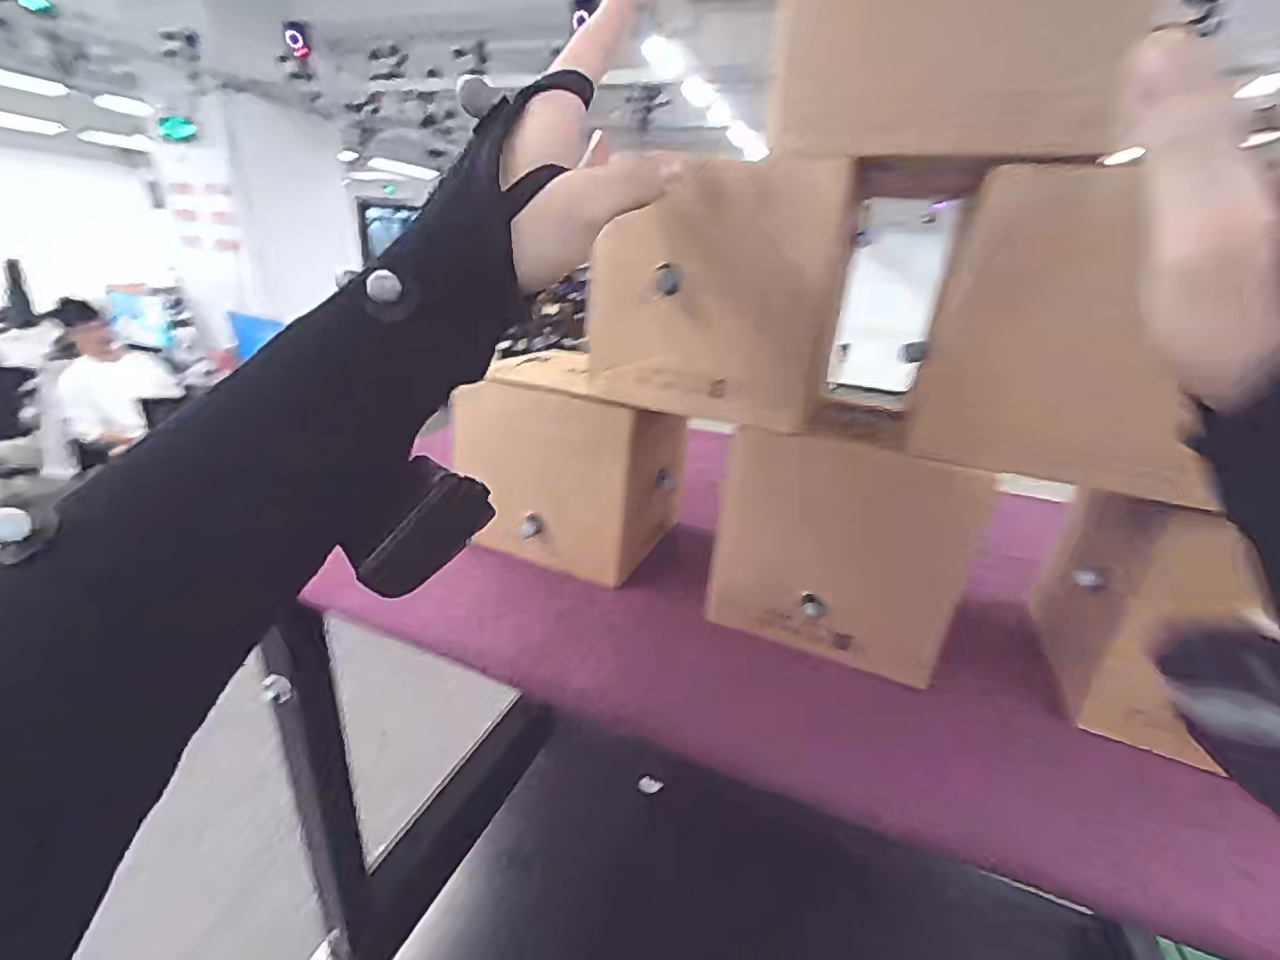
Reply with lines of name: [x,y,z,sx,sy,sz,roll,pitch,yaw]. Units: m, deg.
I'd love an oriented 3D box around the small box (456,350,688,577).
small box: [-0.059,-0.024,0.541,0.179,0.176,0.168,14,24,20]

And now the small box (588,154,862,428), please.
small box: [0.071,-0.147,0.434,0.168,0.176,0.179,13,23,22]

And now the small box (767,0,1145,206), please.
small box: [0.186,-0.276,0.336,0.179,0.176,0.168,13,23,20]

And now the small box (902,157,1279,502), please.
small box: [0.288,-0.098,0.354,0.179,0.176,0.168,13,23,21]
